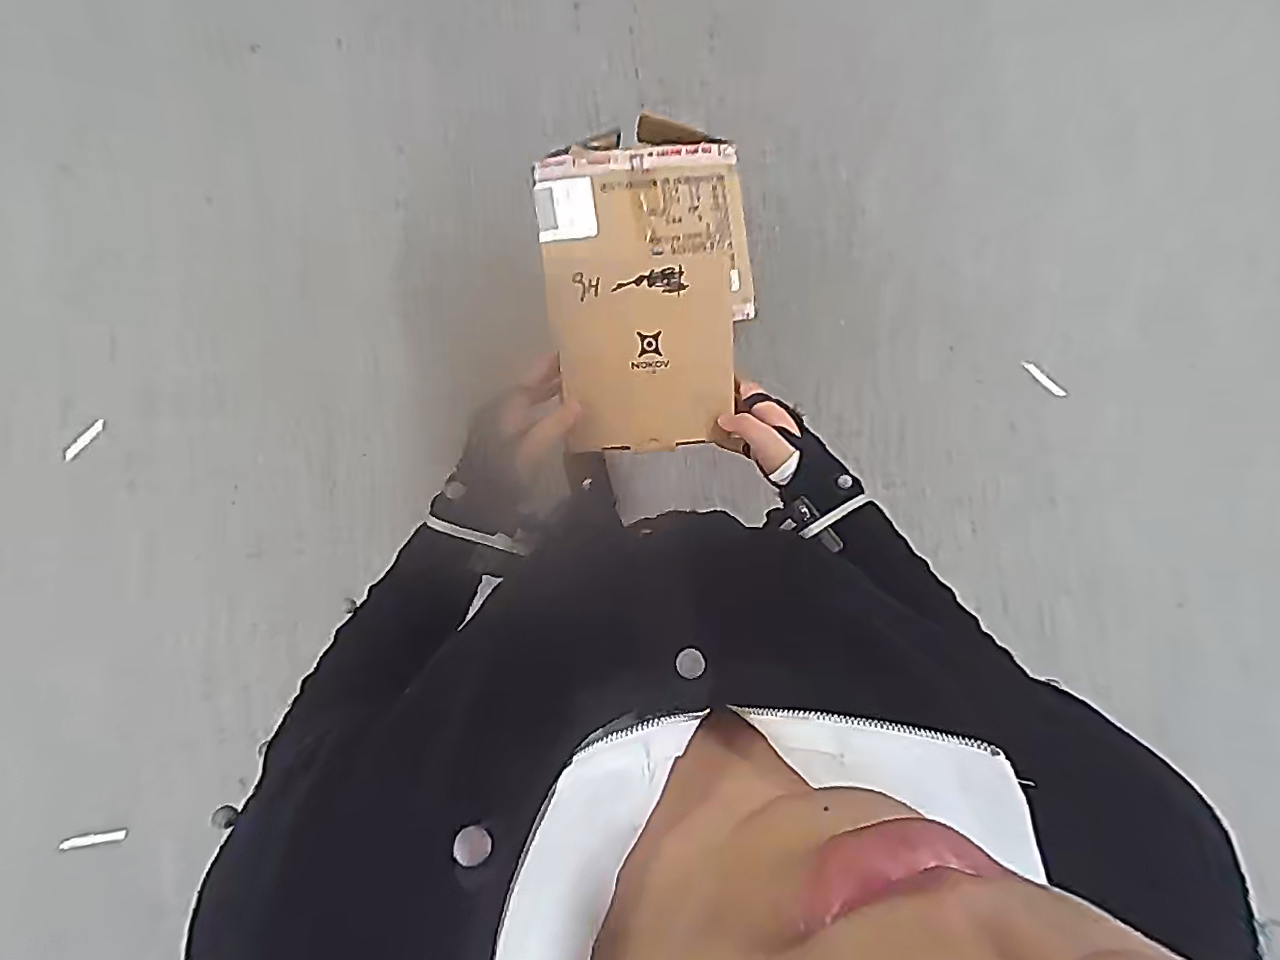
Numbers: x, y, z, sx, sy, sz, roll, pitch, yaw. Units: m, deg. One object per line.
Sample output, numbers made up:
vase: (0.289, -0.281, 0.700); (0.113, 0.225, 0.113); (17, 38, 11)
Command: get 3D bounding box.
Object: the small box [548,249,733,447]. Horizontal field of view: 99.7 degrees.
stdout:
small box: (-0.008, -0.136, 0.576); (0.168, 0.176, 0.179); (-5, 101, -11)
